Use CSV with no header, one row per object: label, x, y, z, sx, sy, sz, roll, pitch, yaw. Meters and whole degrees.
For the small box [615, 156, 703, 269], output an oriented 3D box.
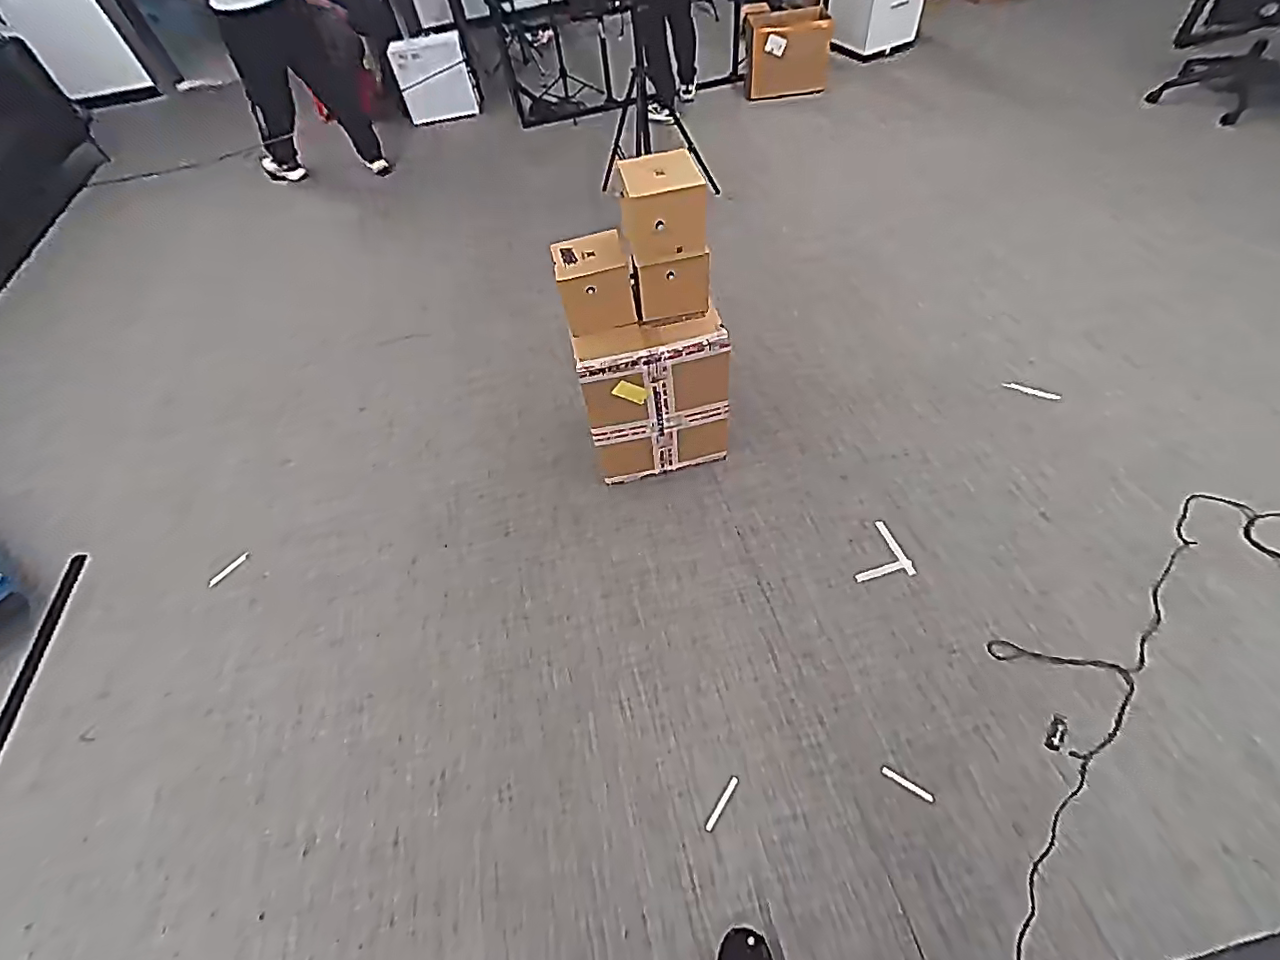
small box,0.046,-0.608,1.245,0.168,0.176,0.179,-13,53,-3
